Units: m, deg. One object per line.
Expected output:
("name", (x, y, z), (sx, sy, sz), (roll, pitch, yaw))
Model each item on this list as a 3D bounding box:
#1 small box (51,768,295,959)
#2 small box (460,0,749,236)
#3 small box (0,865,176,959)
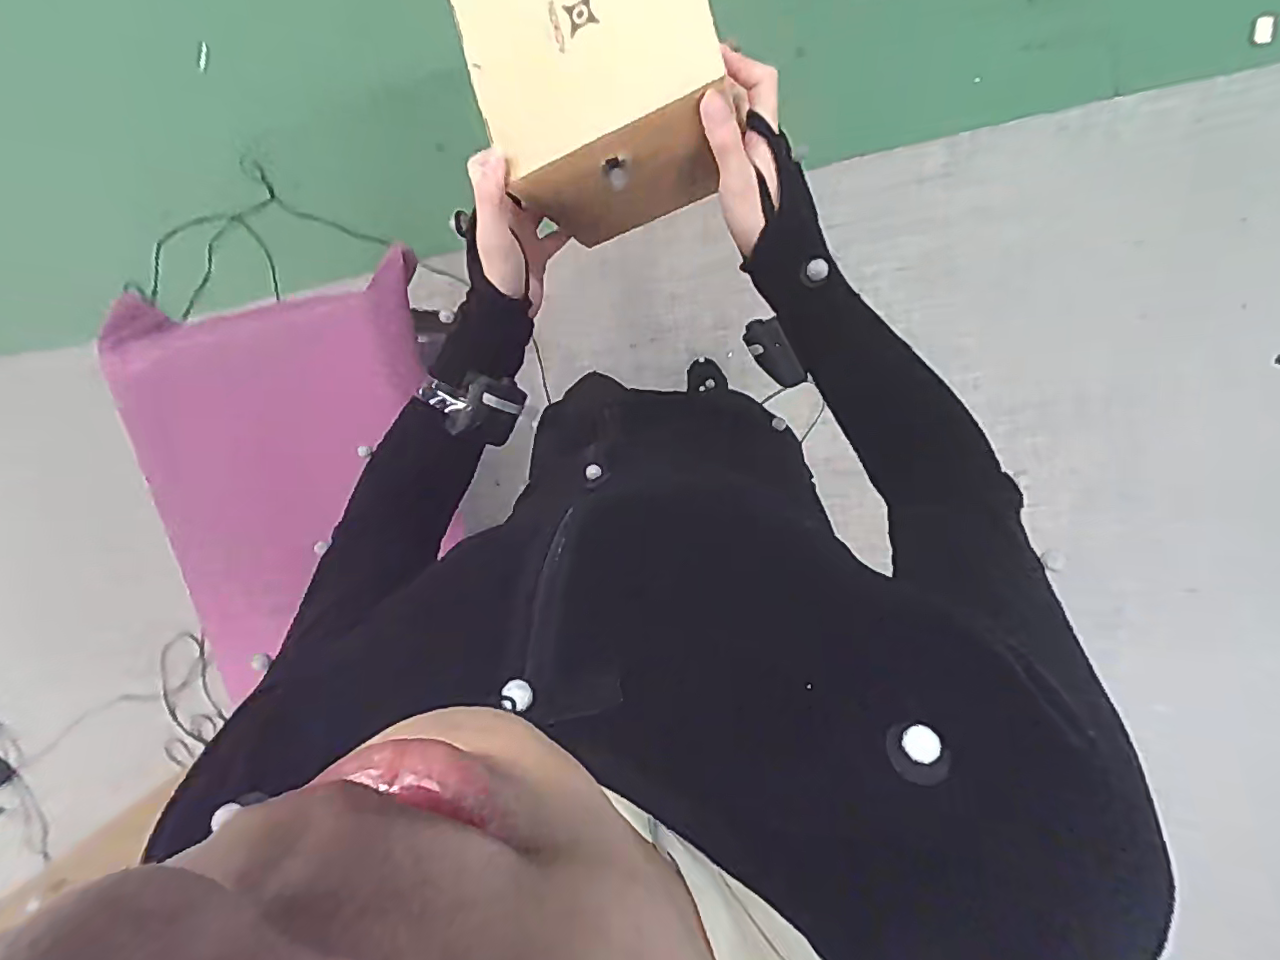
("small box", (-0.592, 0.504, 0.707), (0.179, 0.176, 0.168), (-10, 100, 13))
("small box", (-0.014, -0.330, 0.444), (0.179, 0.176, 0.168), (-14, 93, 20))
("small box", (-0.621, 0.539, 0.549), (0.168, 0.176, 0.179), (-10, 100, 14))
